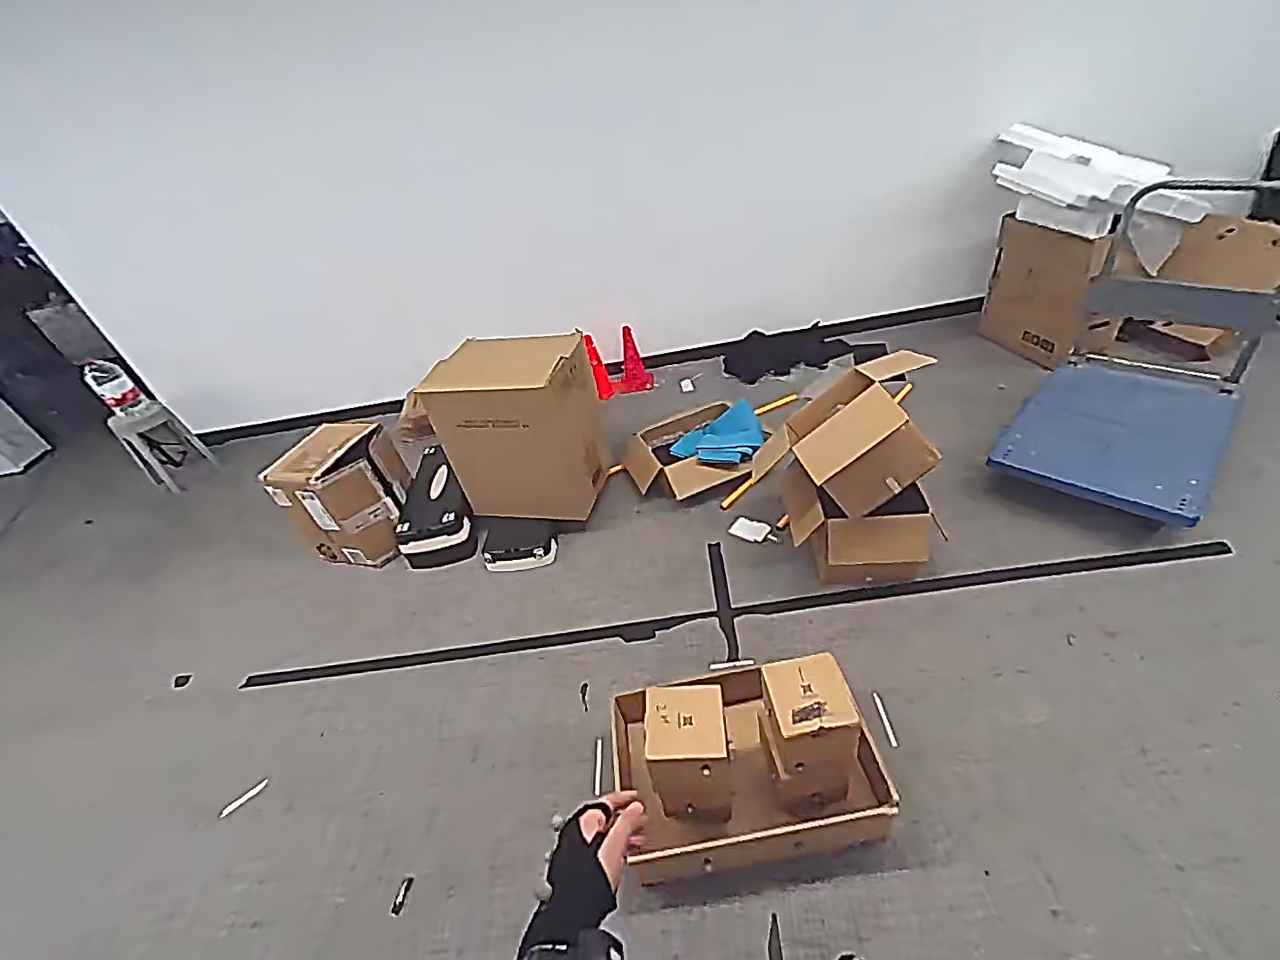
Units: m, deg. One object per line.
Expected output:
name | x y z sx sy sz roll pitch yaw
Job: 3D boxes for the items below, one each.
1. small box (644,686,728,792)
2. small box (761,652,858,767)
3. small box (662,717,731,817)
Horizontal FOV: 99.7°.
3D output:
small box | 0.108 0.591 1.231 0.179 0.176 0.168 -6 38 7
small box | 0.381 0.528 1.230 0.168 0.176 0.179 -12 36 2
small box | 0.137 0.708 1.346 0.168 0.176 0.179 -4 38 9
